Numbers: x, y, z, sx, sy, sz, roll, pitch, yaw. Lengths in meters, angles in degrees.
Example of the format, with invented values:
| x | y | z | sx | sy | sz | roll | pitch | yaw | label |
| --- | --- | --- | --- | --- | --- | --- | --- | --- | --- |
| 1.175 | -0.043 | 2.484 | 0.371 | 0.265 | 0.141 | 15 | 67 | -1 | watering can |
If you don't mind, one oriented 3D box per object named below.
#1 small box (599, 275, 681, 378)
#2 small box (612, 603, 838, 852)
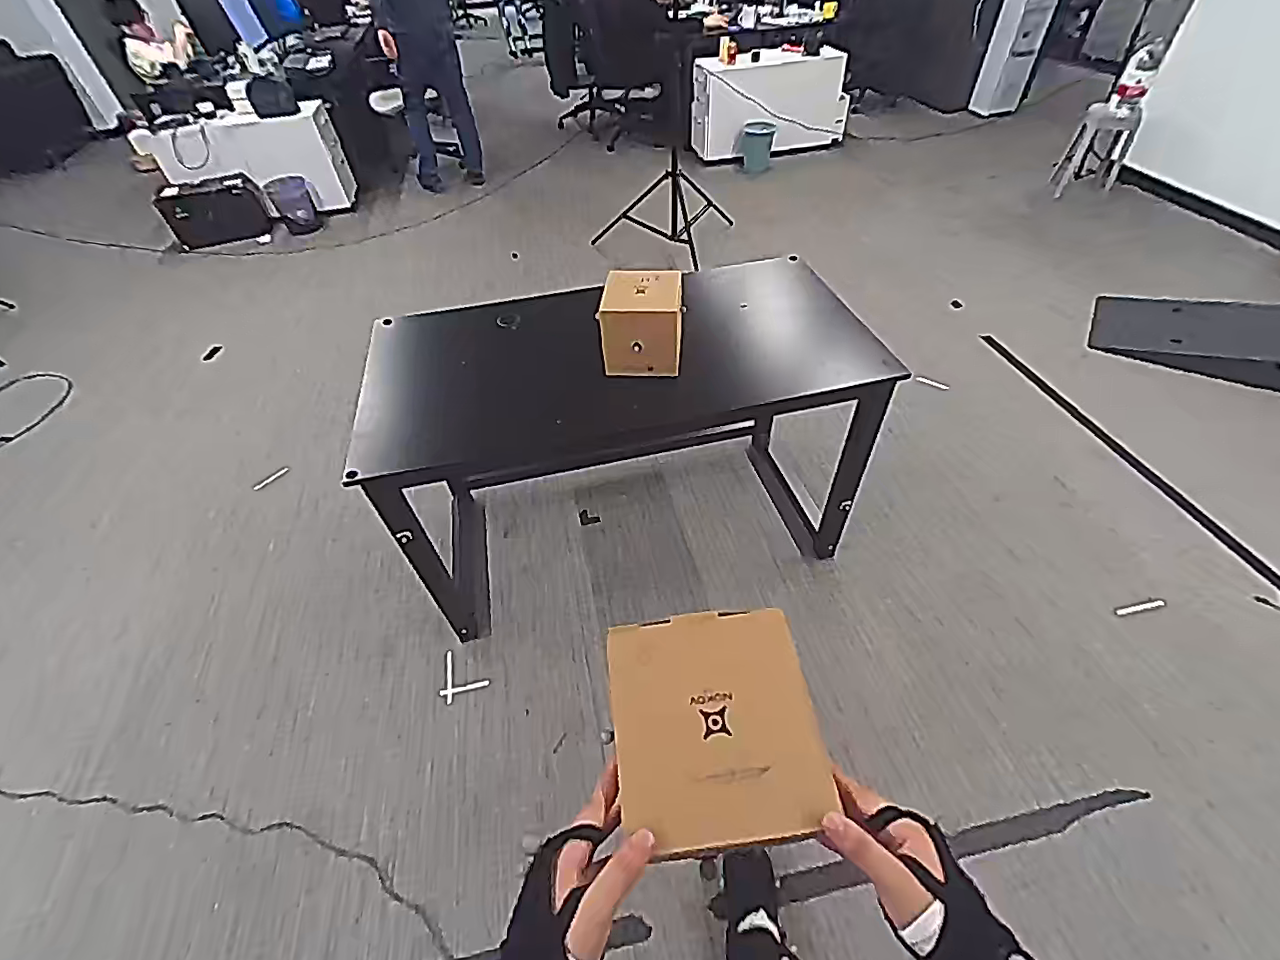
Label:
| x | y | z | sx | sy | sz | roll | pitch | yaw | label |
| --- | --- | --- | --- | --- | --- | --- | --- | --- | --- |
| 0.007 | -0.348 | 1.236 | 0.168 | 0.176 | 0.179 | 2 | 47 | 6 | small box |
| 0.062 | 0.240 | 0.519 | 0.168 | 0.176 | 0.179 | -6 | 54 | -3 | small box |
